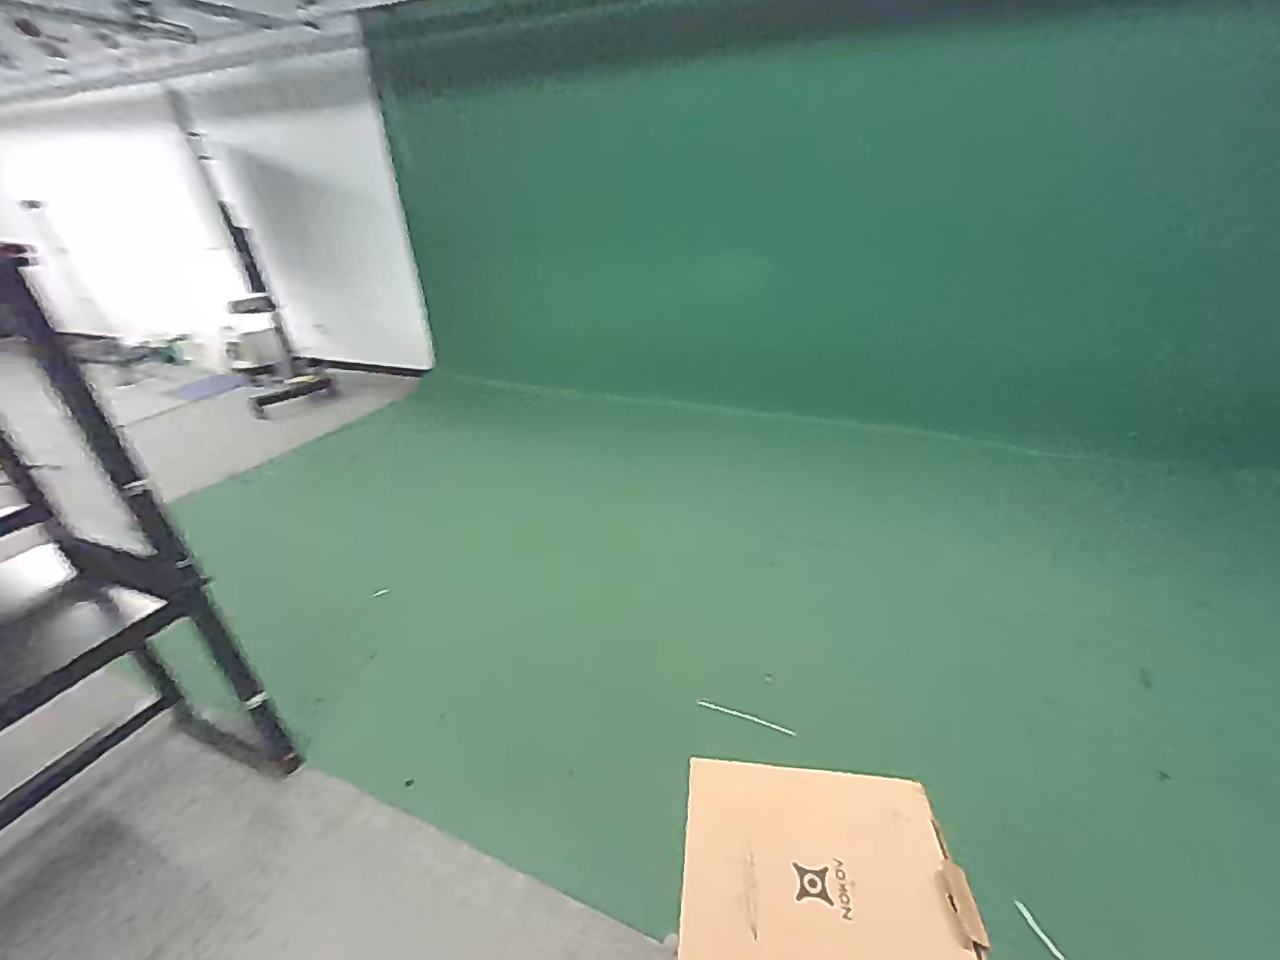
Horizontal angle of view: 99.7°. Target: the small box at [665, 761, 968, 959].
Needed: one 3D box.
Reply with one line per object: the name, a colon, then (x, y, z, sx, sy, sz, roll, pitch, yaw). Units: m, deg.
small box: (0.110, 0.335, 0.383, 0.179, 0.176, 0.168, 0, 25, 8)
